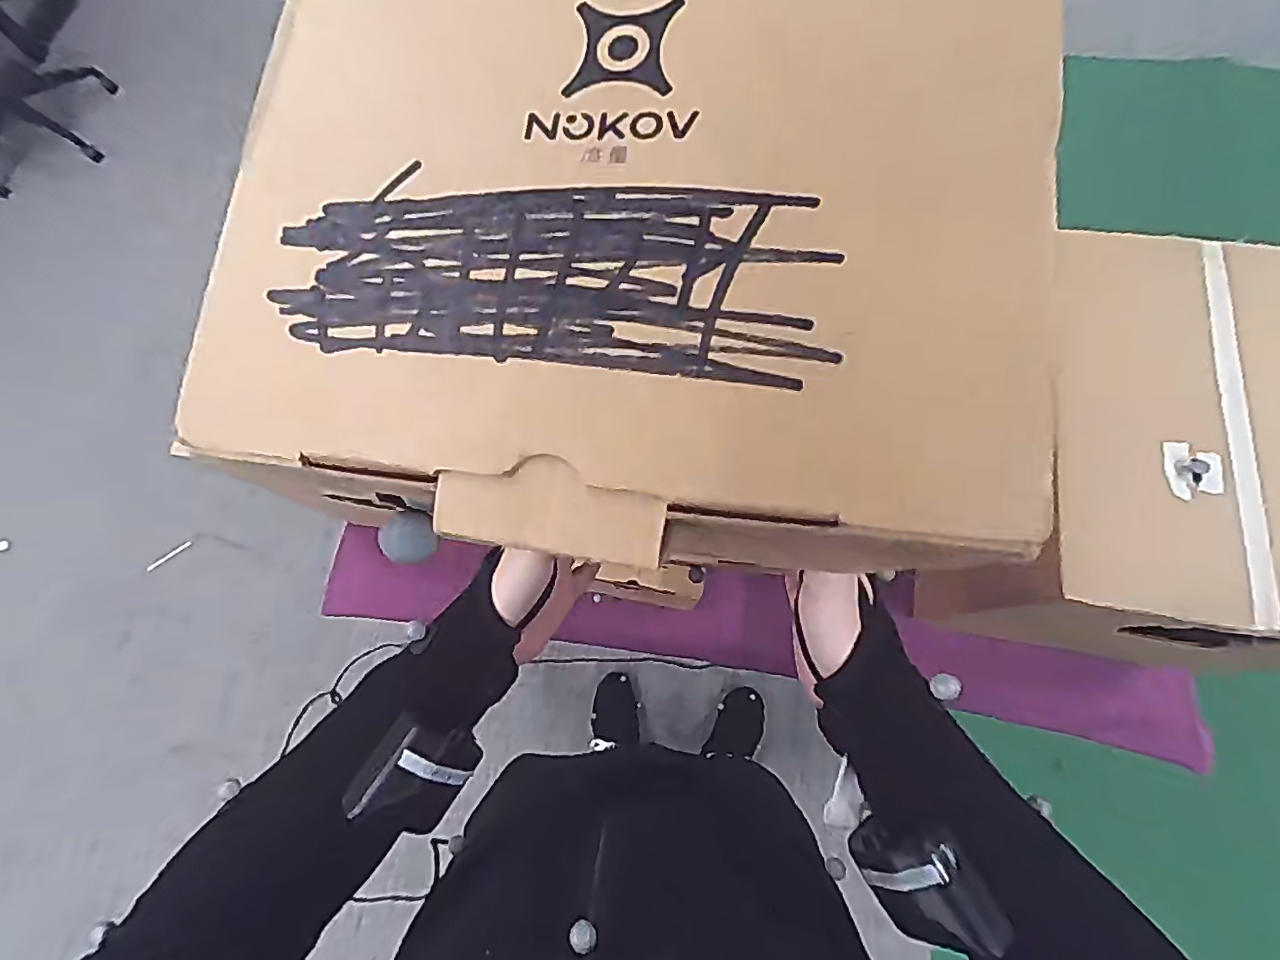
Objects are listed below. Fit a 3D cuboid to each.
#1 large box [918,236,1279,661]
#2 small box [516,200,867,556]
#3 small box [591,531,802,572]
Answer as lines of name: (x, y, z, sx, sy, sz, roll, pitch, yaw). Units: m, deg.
large box: (0.562, -0.015, 0.659, 0.320, 0.320, 0.408, 9, 74, 6)
small box: (0.037, -0.049, 0.349, 0.168, 0.176, 0.179, 4, 81, 9)
small box: (0.061, -0.011, 0.506, 0.168, 0.176, 0.179, 4, 80, 10)
